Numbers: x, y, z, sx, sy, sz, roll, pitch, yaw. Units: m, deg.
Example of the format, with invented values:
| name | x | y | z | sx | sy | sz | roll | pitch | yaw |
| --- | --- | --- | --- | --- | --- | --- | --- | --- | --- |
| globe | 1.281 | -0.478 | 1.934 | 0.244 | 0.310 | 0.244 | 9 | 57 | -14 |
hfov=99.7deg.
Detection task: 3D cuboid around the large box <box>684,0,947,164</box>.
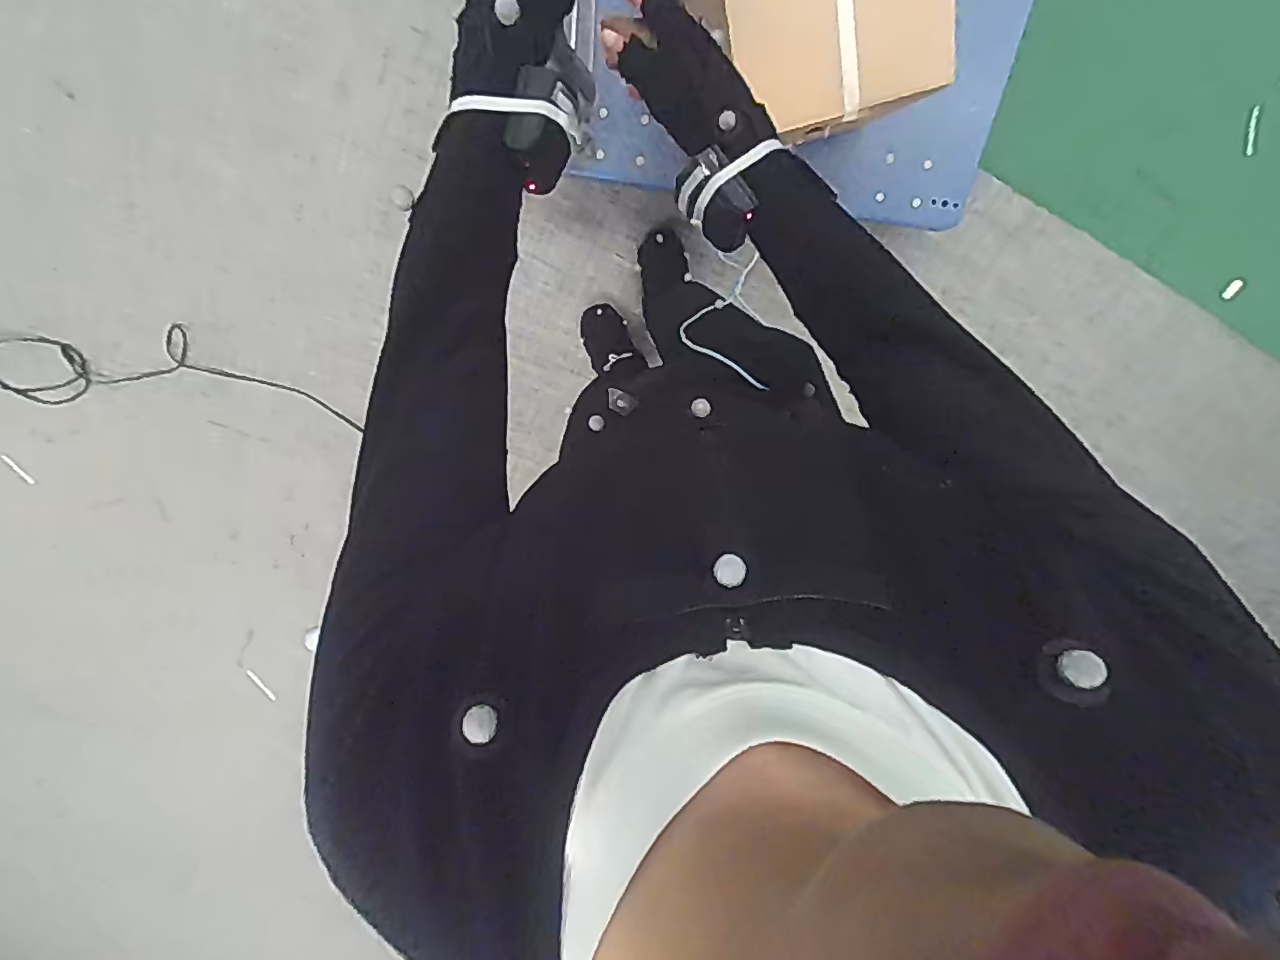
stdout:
| name | x | y | z | sx | sy | sz | roll | pitch | yaw |
| --- | --- | --- | --- | --- | --- | --- | --- | --- | --- |
| large box | 0.245 | -0.783 | 0.857 | 0.320 | 0.320 | 0.408 | -14 | 113 | 4 |
